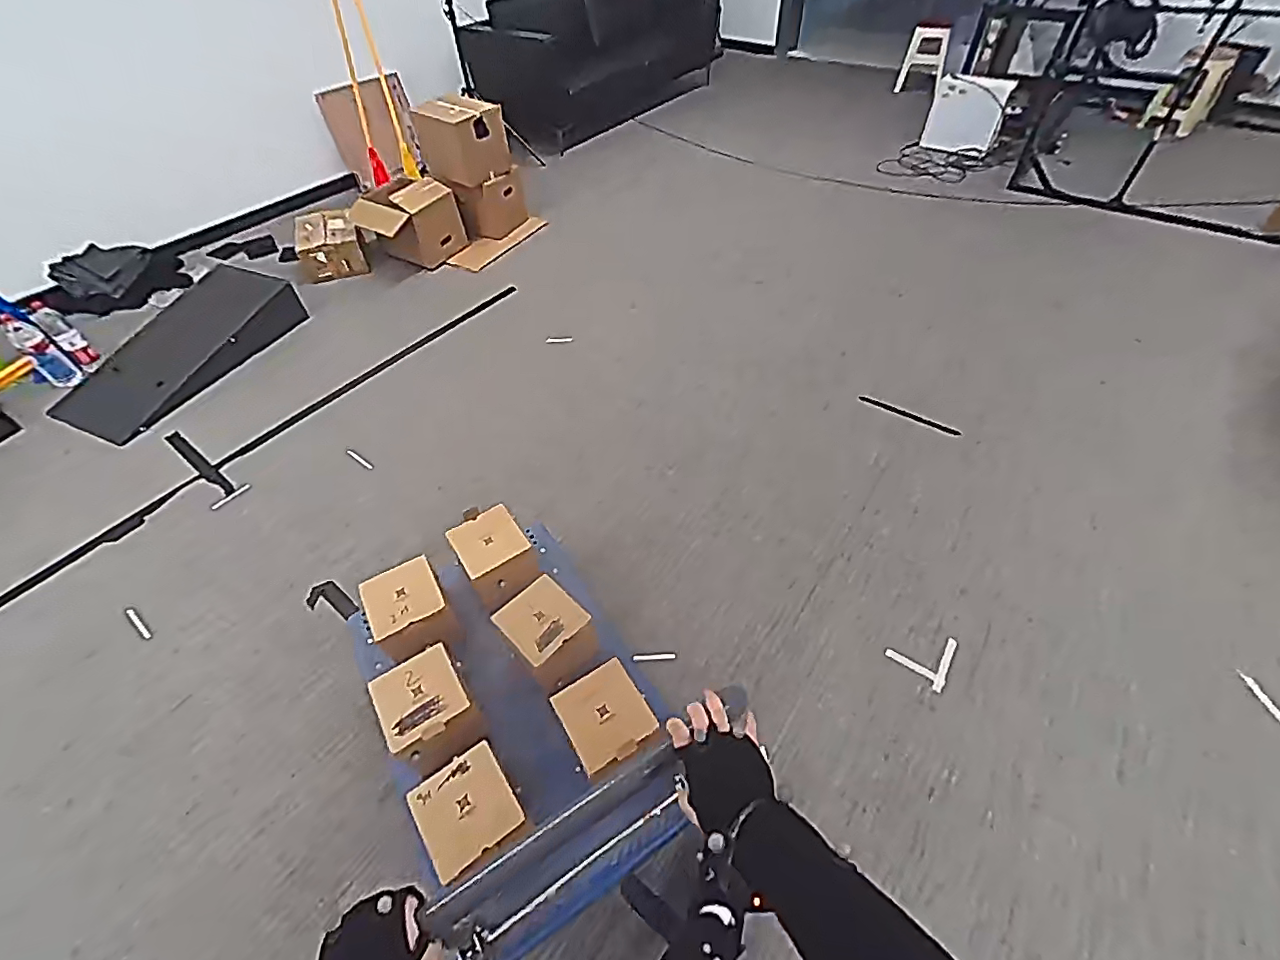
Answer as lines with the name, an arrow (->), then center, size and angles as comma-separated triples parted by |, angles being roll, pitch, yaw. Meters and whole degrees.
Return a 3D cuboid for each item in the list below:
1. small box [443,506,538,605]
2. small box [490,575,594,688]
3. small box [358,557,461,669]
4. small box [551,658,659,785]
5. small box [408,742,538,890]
small box -> -0.392, 0.208, 1.441 | 0.168, 0.176, 0.179 | -30, 55, -22
small box -> -0.226, 0.370, 1.297 | 0.179, 0.176, 0.168 | 35, 58, 28
small box -> -0.565, 0.331, 1.336 | 0.168, 0.176, 0.179 | -26, 54, -19
small box -> -0.071, 0.525, 1.161 | 0.168, 0.176, 0.179 | -27, 53, -21
small box -> -0.315, 0.655, 1.051 | 0.168, 0.176, 0.179 | -30, 55, -24
